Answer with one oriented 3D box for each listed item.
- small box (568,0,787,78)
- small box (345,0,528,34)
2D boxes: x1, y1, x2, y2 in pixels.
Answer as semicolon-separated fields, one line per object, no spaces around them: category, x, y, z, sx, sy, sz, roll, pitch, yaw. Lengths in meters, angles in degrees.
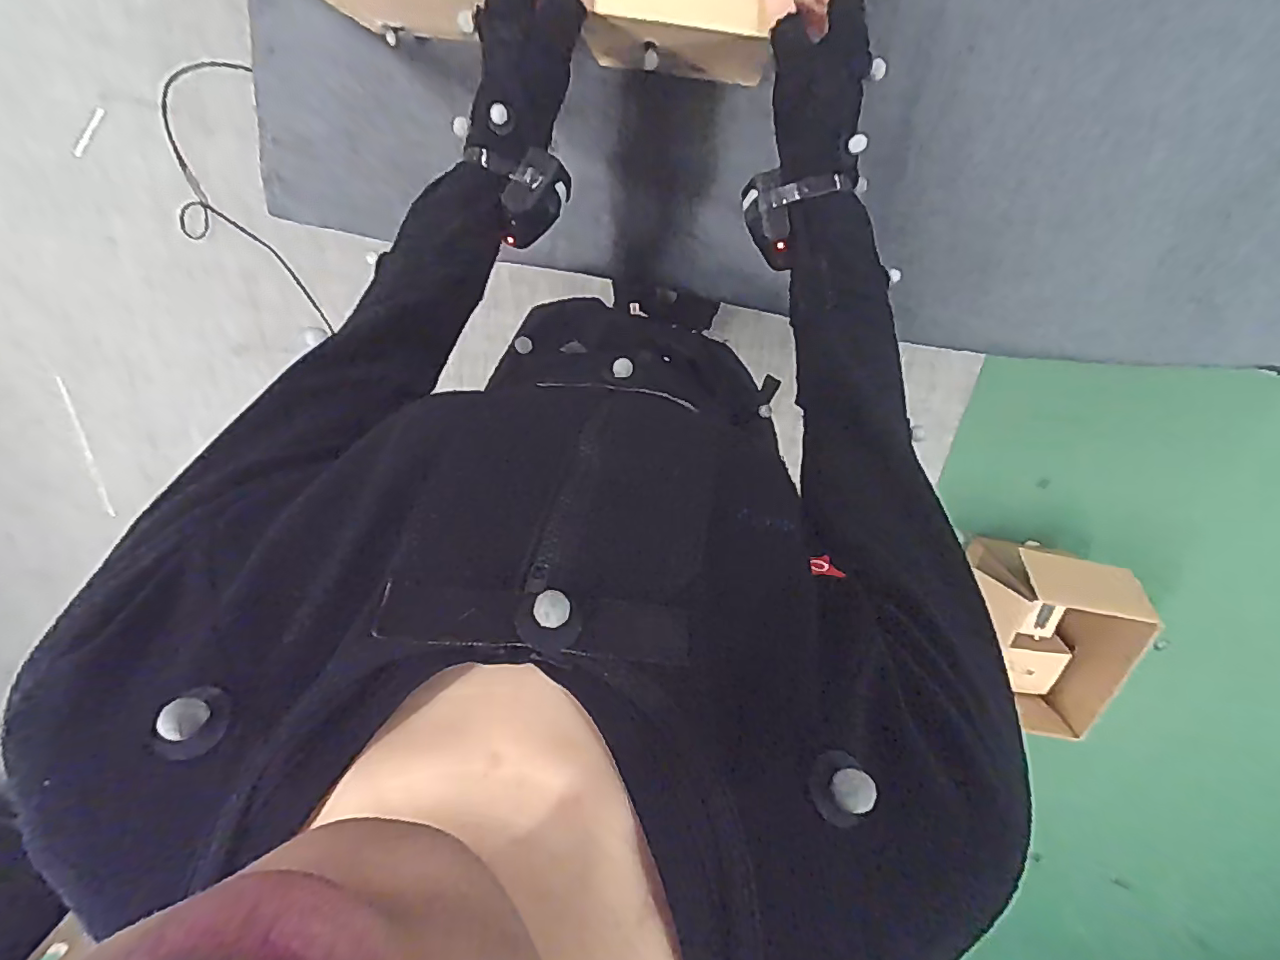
small box;0.044;-0.453;0.436;0.168;0.176;0.179;9;115;1
small box;-0.189;-0.493;0.434;0.168;0.176;0.179;6;115;2
